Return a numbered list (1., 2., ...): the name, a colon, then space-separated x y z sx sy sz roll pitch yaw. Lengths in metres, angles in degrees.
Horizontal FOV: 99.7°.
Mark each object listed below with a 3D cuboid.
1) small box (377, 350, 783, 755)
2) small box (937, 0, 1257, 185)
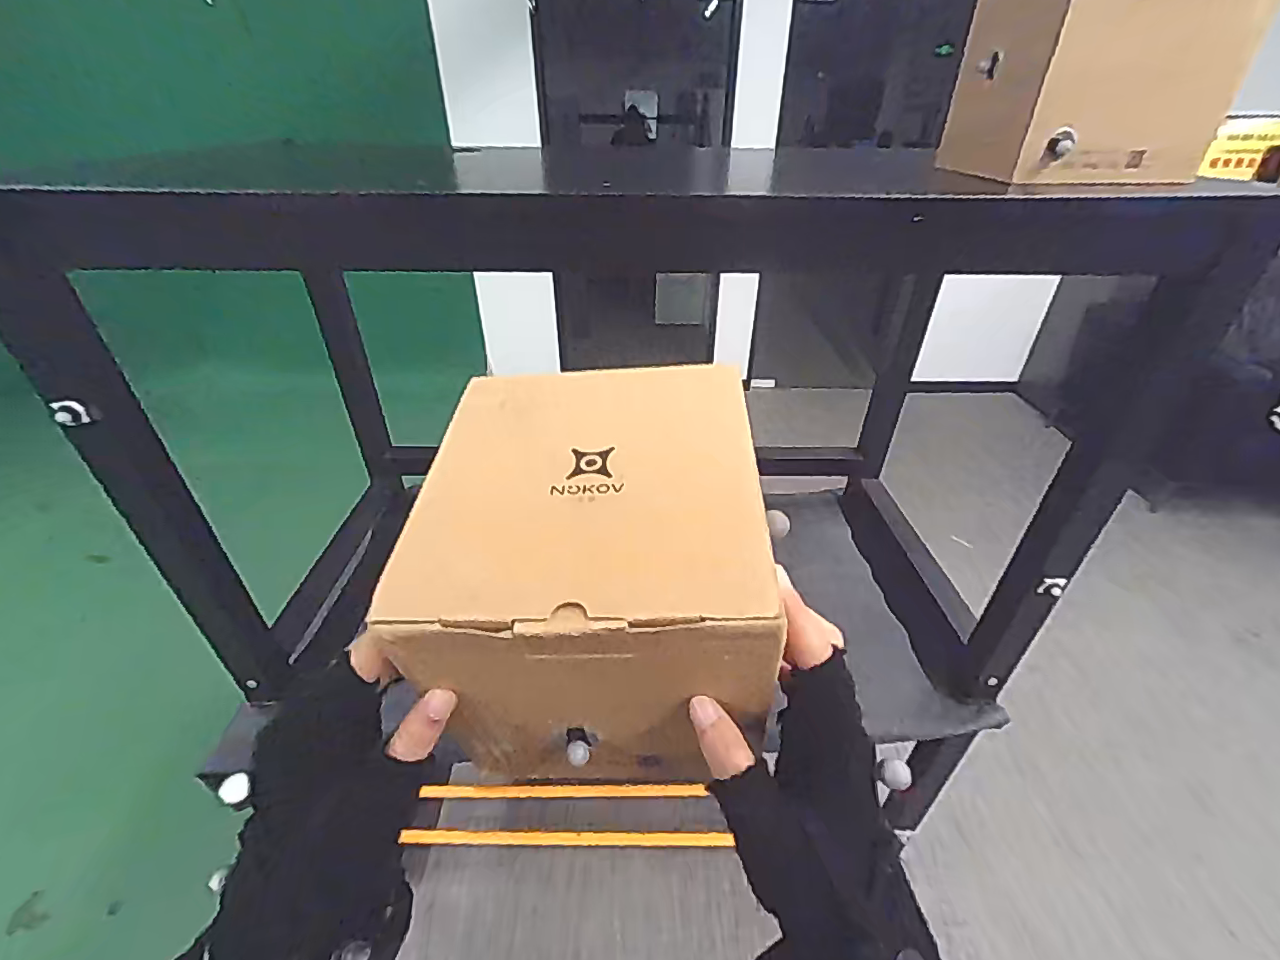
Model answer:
1. small box: -0.017 0.042 0.325 0.168 0.176 0.179 -2 45 4
2. small box: 0.425 -0.389 0.528 0.168 0.176 0.179 2 33 2
